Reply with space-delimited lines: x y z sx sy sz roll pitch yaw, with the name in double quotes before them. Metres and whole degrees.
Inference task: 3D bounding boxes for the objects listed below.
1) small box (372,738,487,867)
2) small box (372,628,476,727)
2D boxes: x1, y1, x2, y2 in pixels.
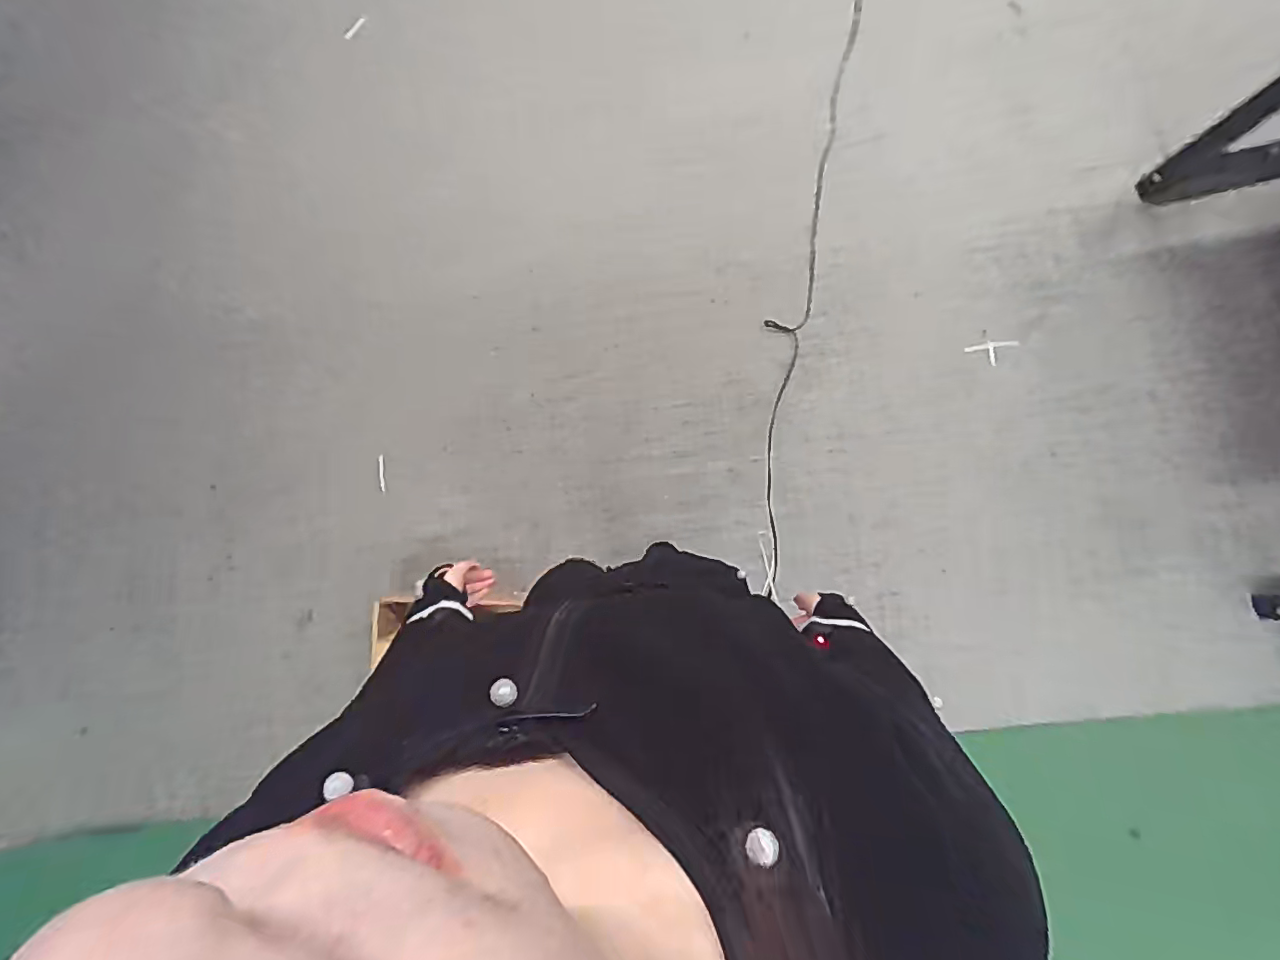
"small box" -0.463 0.713 1.215 0.168 0.176 0.179 10 84 6
"small box" -0.485 0.441 1.235 0.168 0.176 0.179 0 88 4
